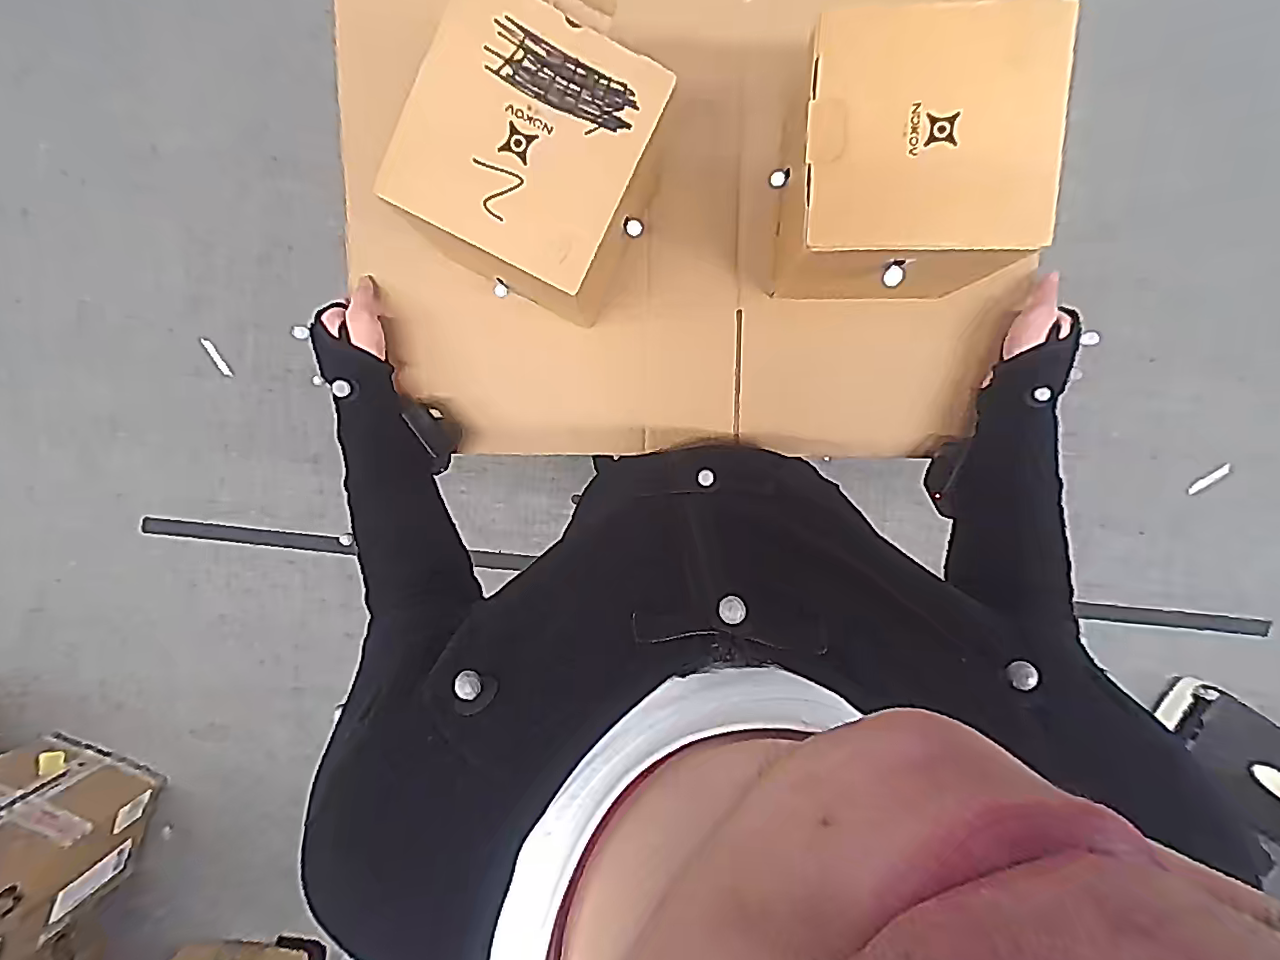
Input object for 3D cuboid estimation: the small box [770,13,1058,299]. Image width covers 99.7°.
[{"bbox_3d":[0.220,-0.264,0.482,0.179,0.176,0.168,1,96,6],"label":"small box"}]
